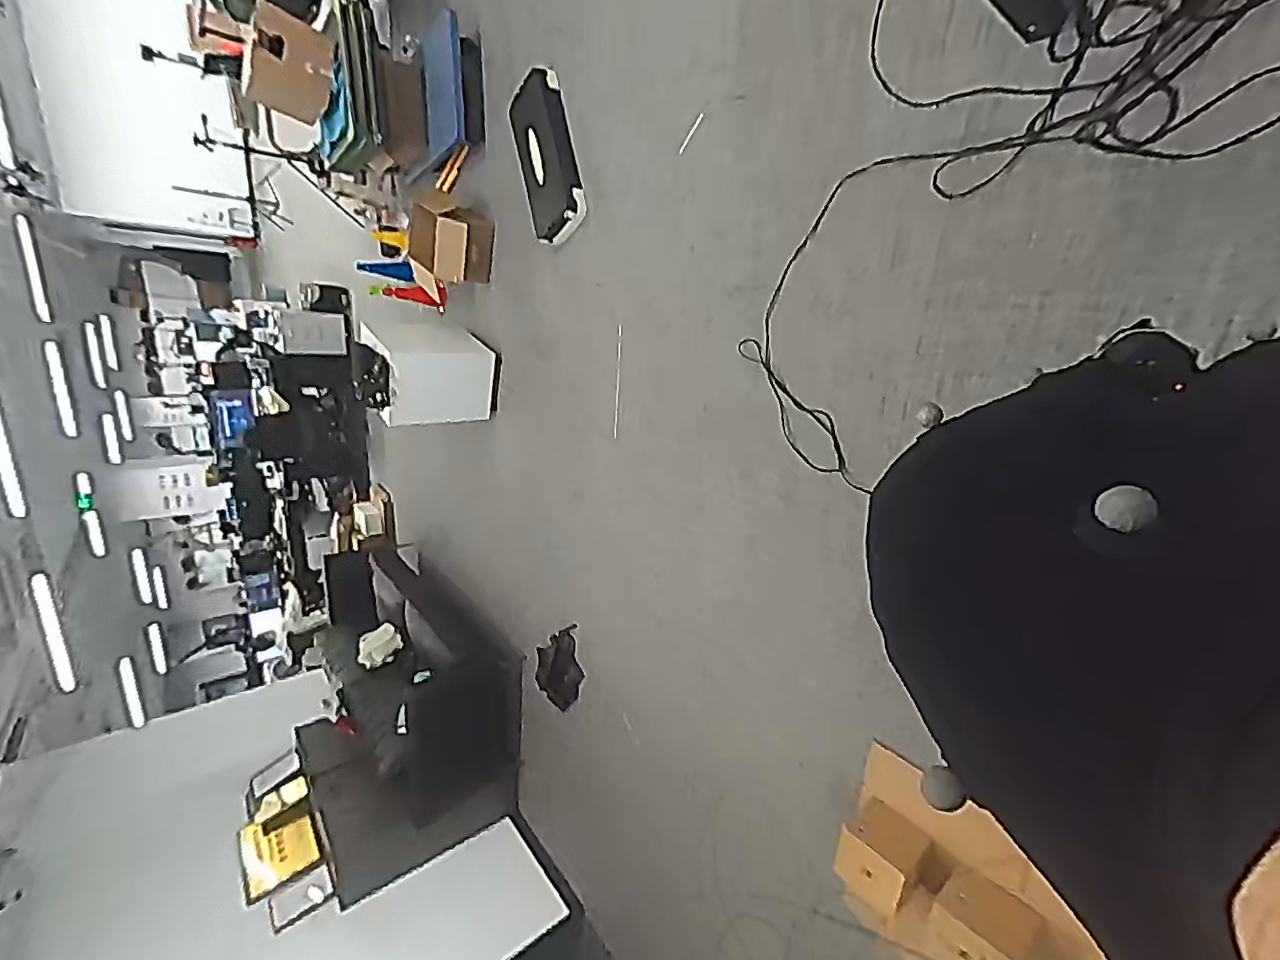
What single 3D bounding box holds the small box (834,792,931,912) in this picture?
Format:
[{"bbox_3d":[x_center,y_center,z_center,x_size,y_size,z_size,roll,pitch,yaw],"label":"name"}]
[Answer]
[{"bbox_3d":[0.662,1.001,1.474,0.179,0.176,0.168,22,115,47],"label":"small box"}]
